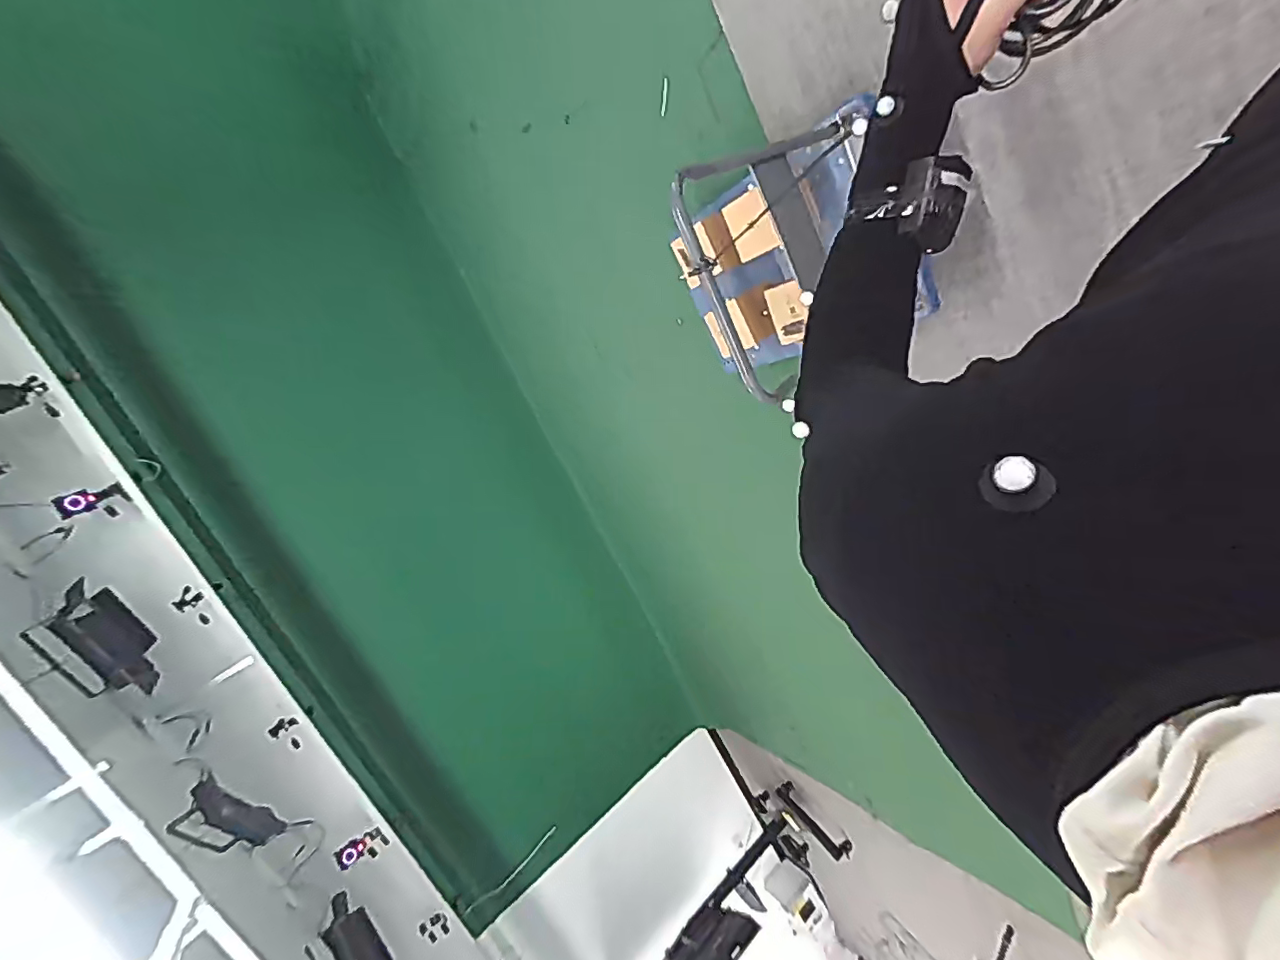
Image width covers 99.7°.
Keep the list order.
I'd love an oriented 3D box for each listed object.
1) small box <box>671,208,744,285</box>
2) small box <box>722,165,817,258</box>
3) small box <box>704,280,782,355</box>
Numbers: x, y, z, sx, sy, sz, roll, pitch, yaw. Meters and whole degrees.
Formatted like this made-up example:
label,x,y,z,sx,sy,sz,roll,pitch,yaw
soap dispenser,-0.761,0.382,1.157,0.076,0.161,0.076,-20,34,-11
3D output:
label,x,y,z,sx,sy,sz,roll,pitch,yaw
small box,0.238,-0.775,1.783,0.179,0.176,0.168,-6,116,60
small box,0.374,-0.771,1.556,0.179,0.176,0.168,0,120,59
small box,0.357,-0.552,1.835,0.179,0.176,0.168,-8,112,62
